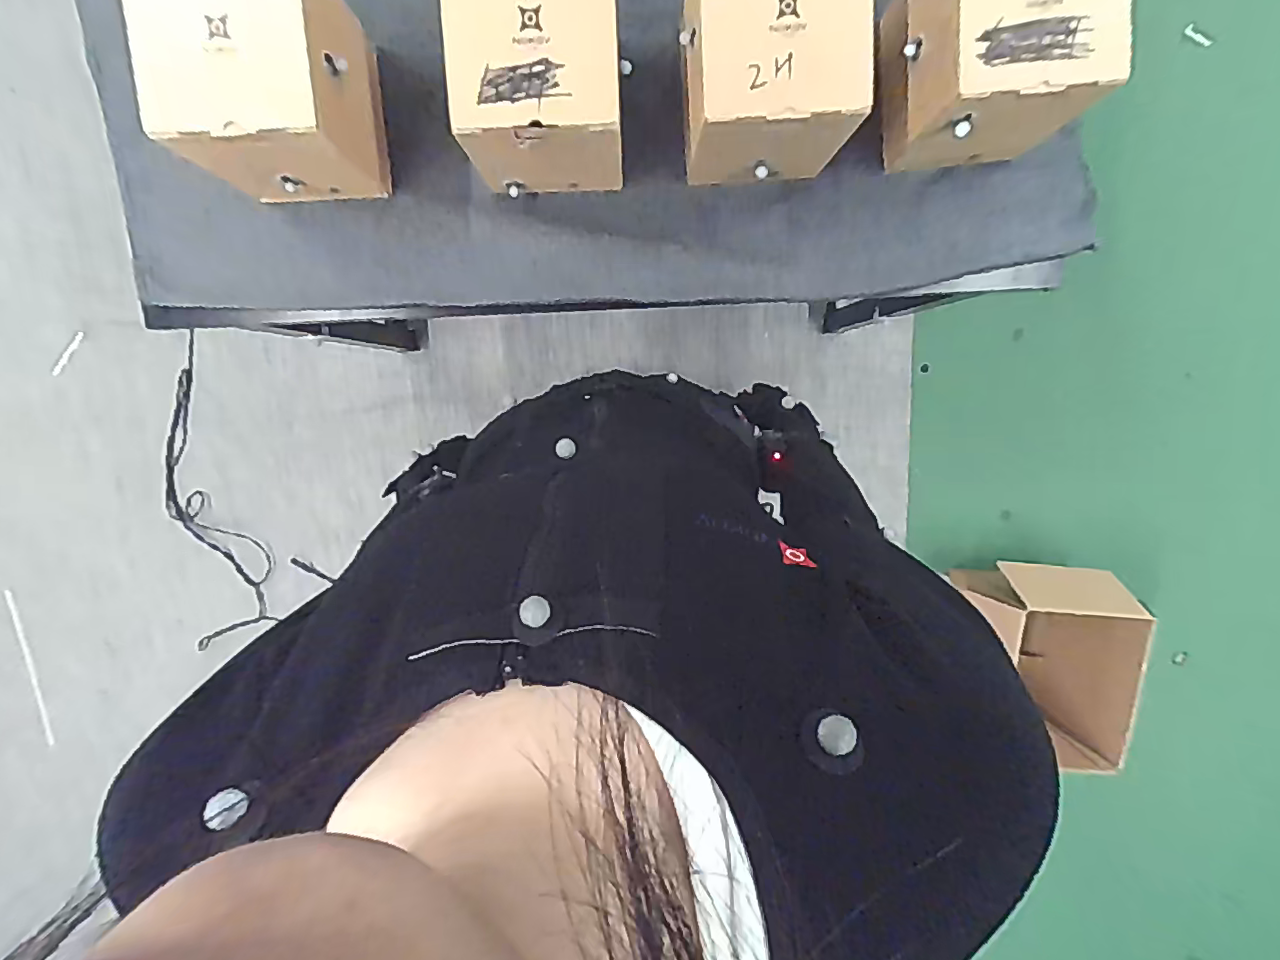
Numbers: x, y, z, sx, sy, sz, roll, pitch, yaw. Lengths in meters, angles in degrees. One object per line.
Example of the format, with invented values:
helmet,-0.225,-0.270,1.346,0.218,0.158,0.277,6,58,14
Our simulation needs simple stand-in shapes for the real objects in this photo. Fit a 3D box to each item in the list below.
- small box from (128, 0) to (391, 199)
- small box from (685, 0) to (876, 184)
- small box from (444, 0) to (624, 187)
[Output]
small box,-0.390,-0.428,0.582,0.168,0.176,0.179,-3,99,-2
small box,0.140,-0.451,0.590,0.168,0.176,0.179,-4,99,1
small box,-0.102,-0.436,0.587,0.168,0.176,0.179,-2,99,-1
